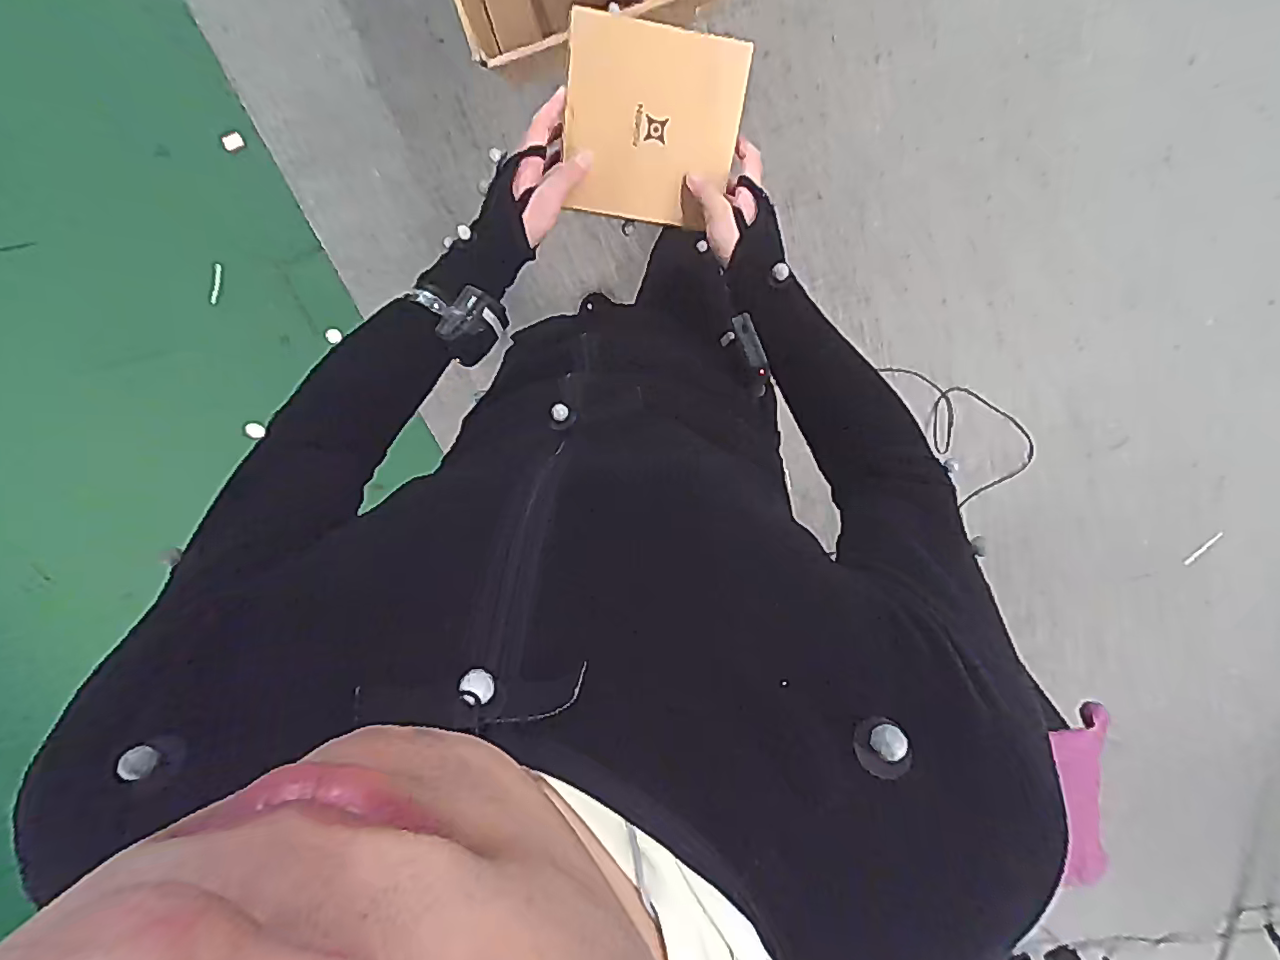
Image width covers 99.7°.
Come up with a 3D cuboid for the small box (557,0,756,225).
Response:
[{"bbox_3d":[0.007,-0.387,0.595,0.179,0.176,0.168,5,117,-6],"label":"small box"}]
